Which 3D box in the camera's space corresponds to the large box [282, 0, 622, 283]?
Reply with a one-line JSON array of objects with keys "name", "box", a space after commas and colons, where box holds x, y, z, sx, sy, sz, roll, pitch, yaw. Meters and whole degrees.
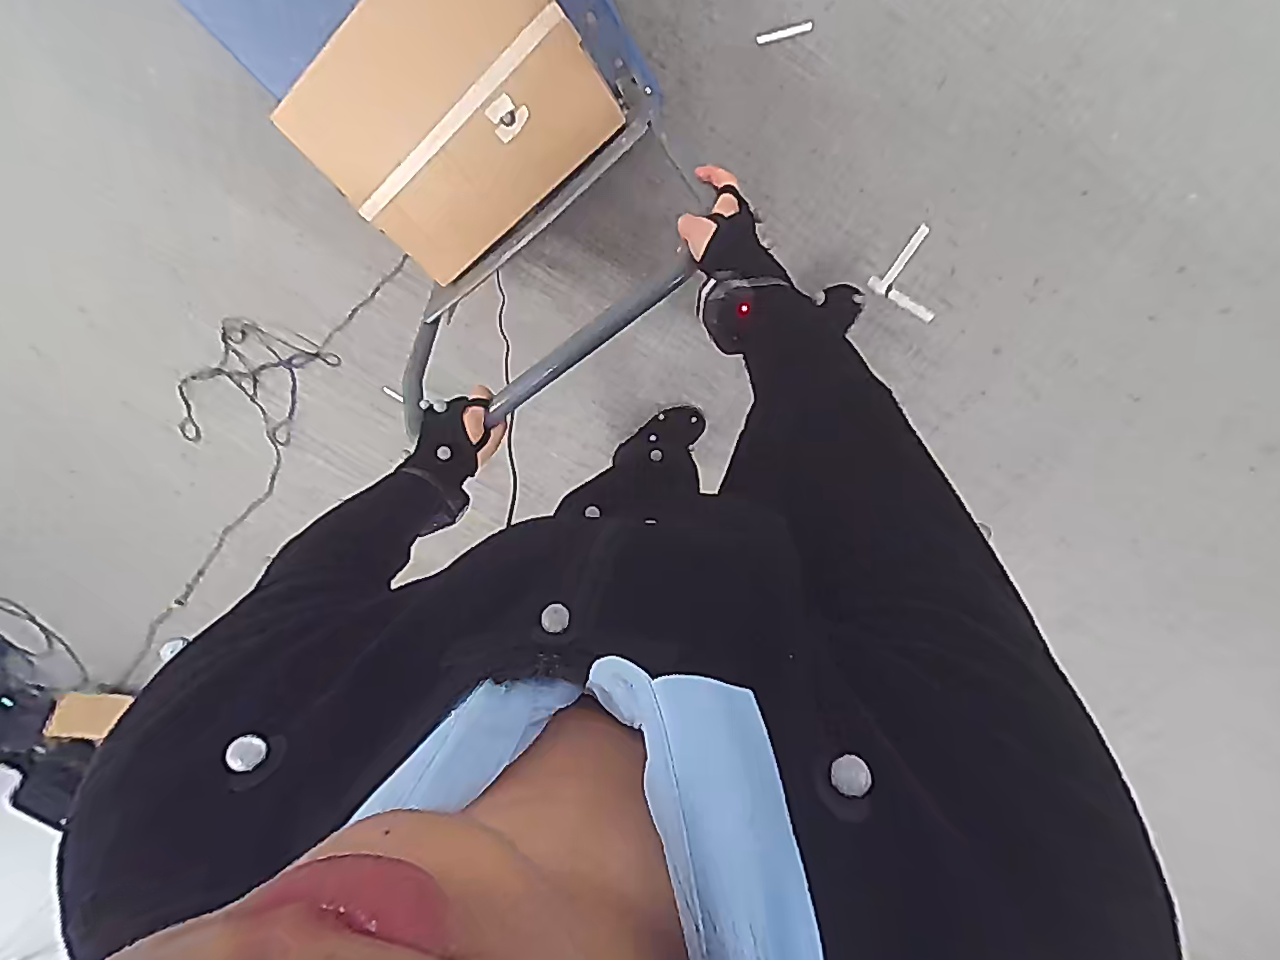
[{"name": "large box", "box": [-0.286, -0.622, 0.903, 0.408, 0.320, 0.320, -34, 127, 19]}]
